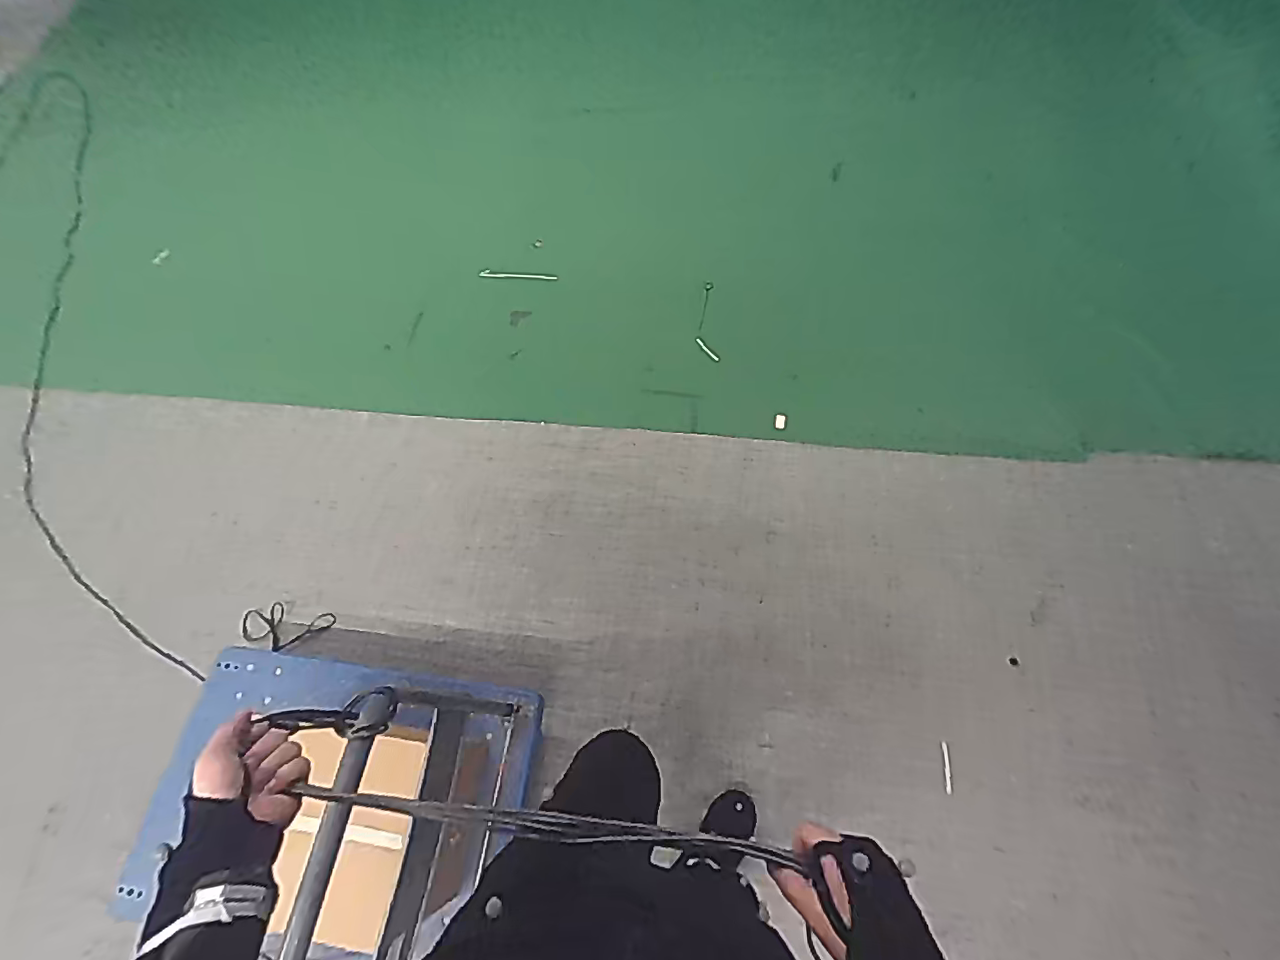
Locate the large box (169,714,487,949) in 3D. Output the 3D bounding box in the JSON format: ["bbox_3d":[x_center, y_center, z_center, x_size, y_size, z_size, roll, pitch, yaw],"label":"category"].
[{"bbox_3d":[-0.575,0.662,1.087,0.408,0.320,0.320,5,65,8],"label":"large box"}]
